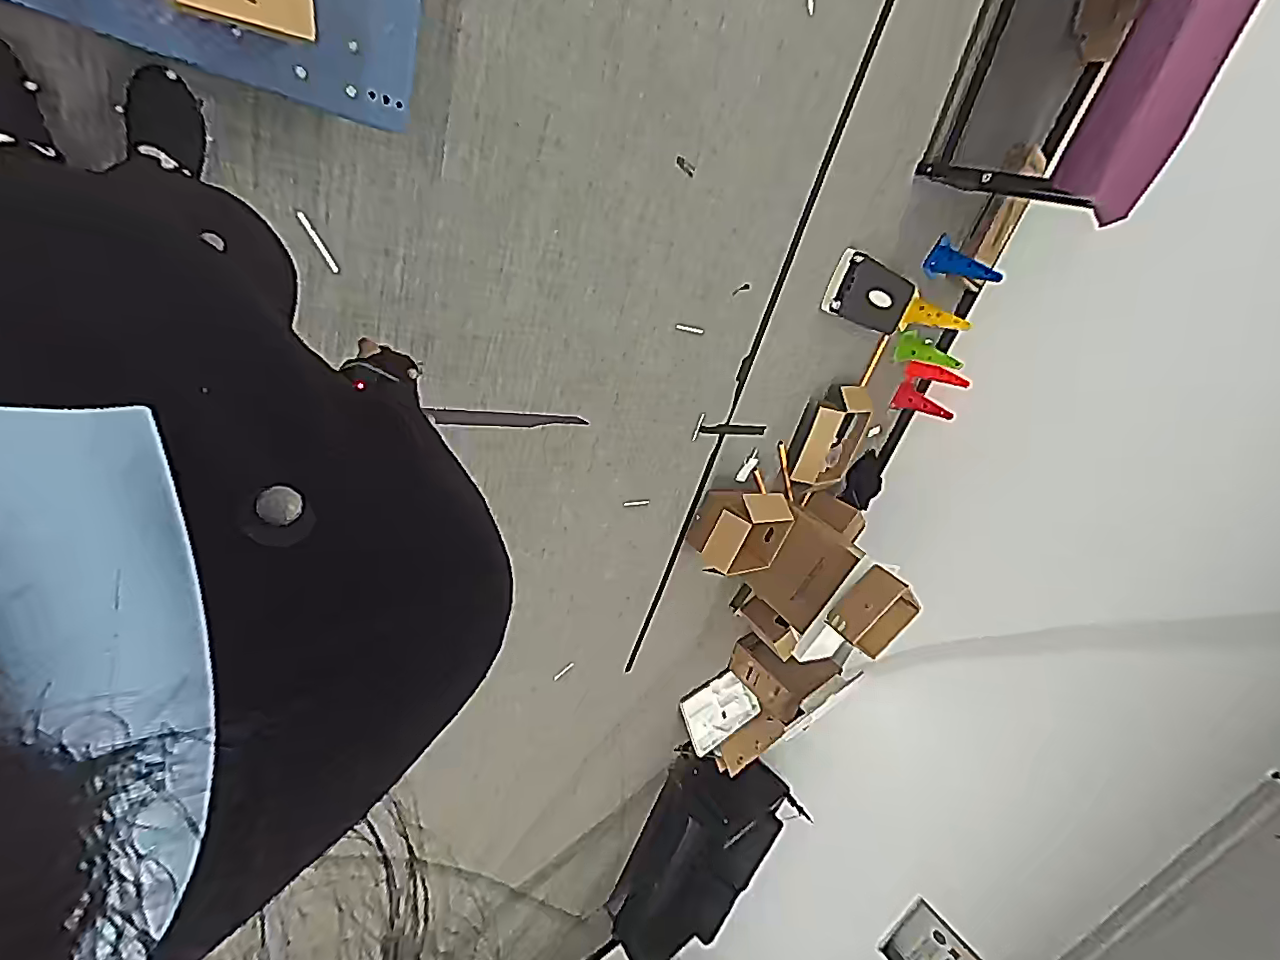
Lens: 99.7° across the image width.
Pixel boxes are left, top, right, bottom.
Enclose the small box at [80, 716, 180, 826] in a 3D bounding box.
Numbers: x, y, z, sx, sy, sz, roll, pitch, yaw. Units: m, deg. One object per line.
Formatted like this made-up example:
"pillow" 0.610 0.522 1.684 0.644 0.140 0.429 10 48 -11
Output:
"small box" -1.403 0.796 1.494 0.168 0.176 0.179 -17 131 -37
